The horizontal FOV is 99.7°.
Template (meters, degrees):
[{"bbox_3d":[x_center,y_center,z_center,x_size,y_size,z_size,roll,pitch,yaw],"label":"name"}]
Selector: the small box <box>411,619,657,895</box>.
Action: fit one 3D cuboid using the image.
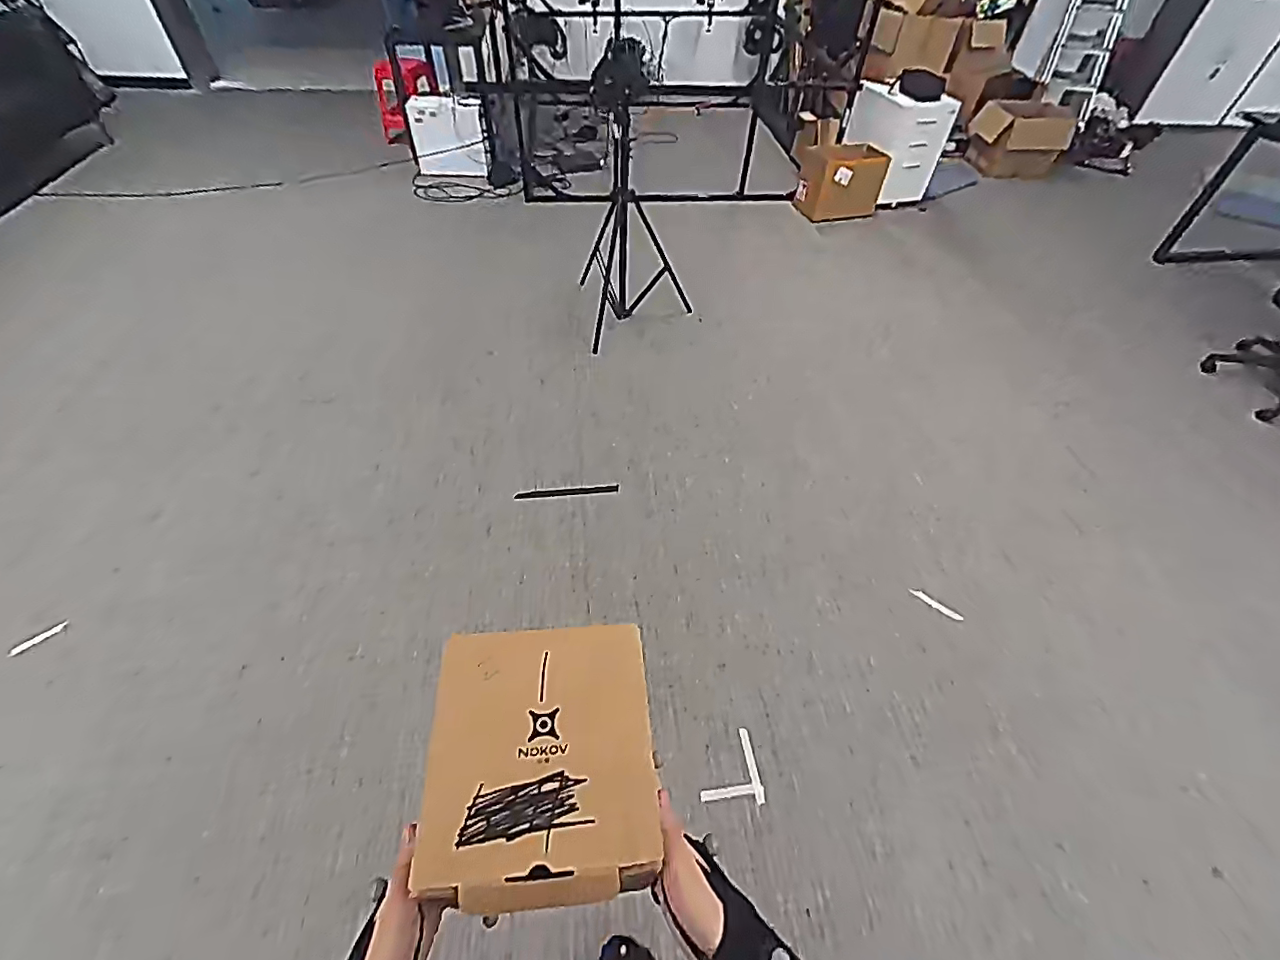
[{"bbox_3d":[-0.078,0.242,0.467,0.168,0.176,0.179,-2,48,-6],"label":"small box"}]
